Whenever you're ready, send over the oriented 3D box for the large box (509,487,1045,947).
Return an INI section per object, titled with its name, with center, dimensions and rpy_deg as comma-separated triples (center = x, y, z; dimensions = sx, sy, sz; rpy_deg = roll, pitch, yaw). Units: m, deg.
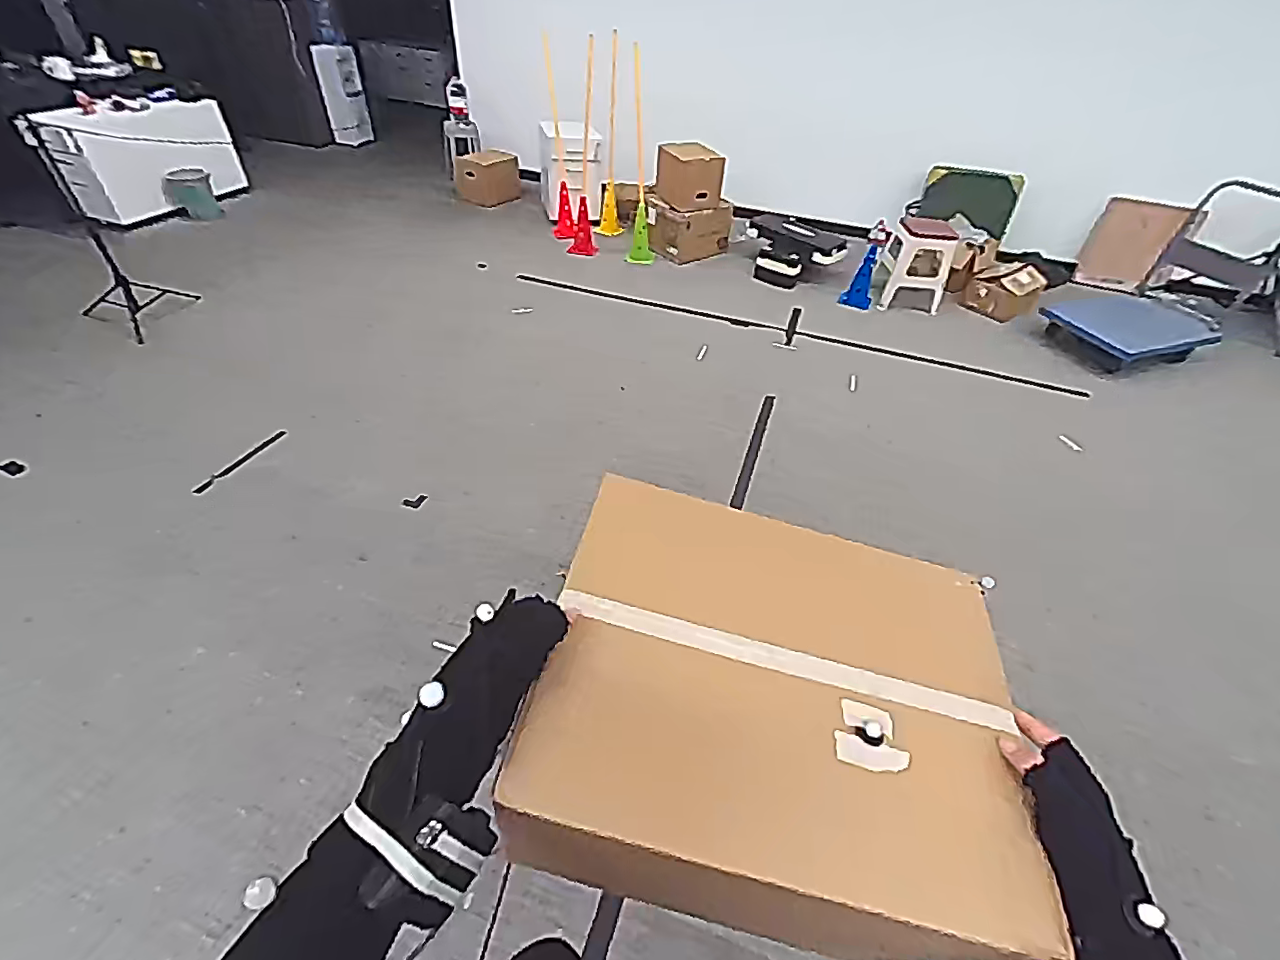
[large box]
center = 0.098, 0.261, 0.591
dimensions = 0.408, 0.320, 0.320
rpy_deg = 16, 48, 0
